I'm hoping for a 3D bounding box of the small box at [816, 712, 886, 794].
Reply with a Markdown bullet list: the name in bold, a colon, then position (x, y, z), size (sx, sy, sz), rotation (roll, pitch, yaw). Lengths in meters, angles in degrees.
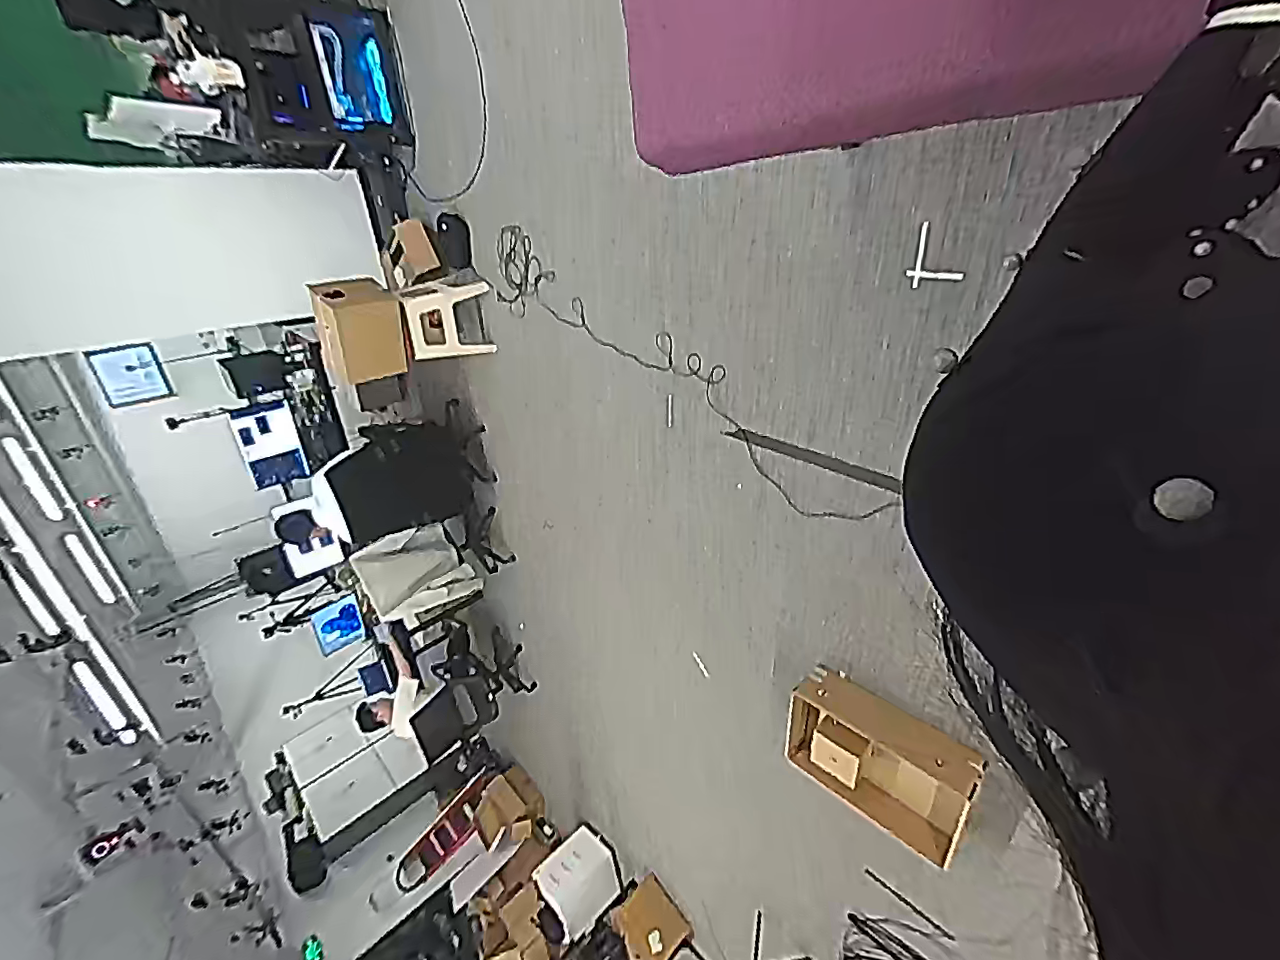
- **small box**: position (0.773, 0.989, 1.981), size (0.179, 0.176, 0.168), rotation (21, 126, 41)
